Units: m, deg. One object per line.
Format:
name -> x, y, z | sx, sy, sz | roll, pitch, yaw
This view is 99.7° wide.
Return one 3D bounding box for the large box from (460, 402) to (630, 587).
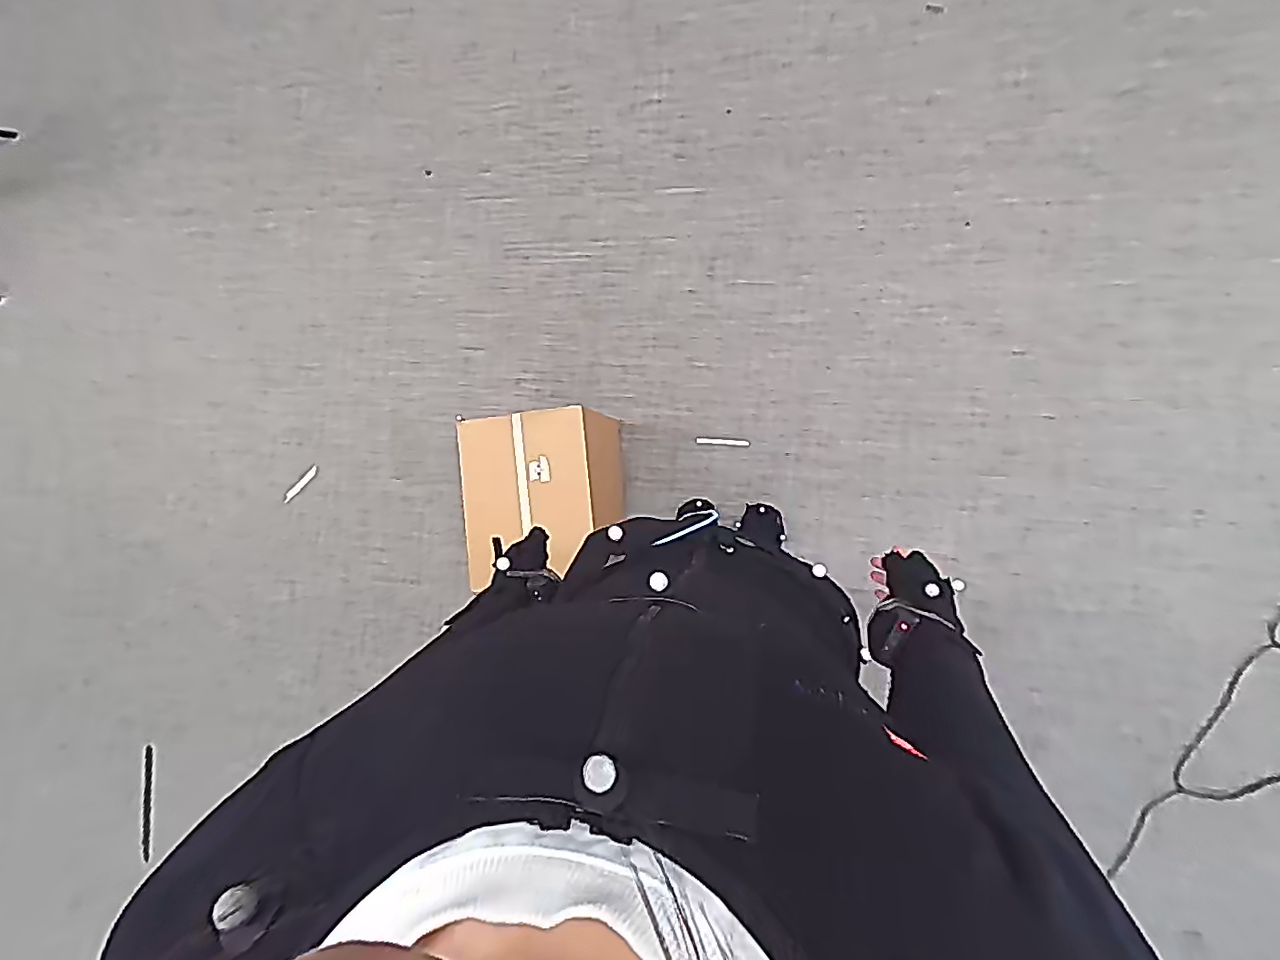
large box -> -0.225, 0.041, 1.383 | 0.320, 0.320, 0.408 | -6, 88, 11
